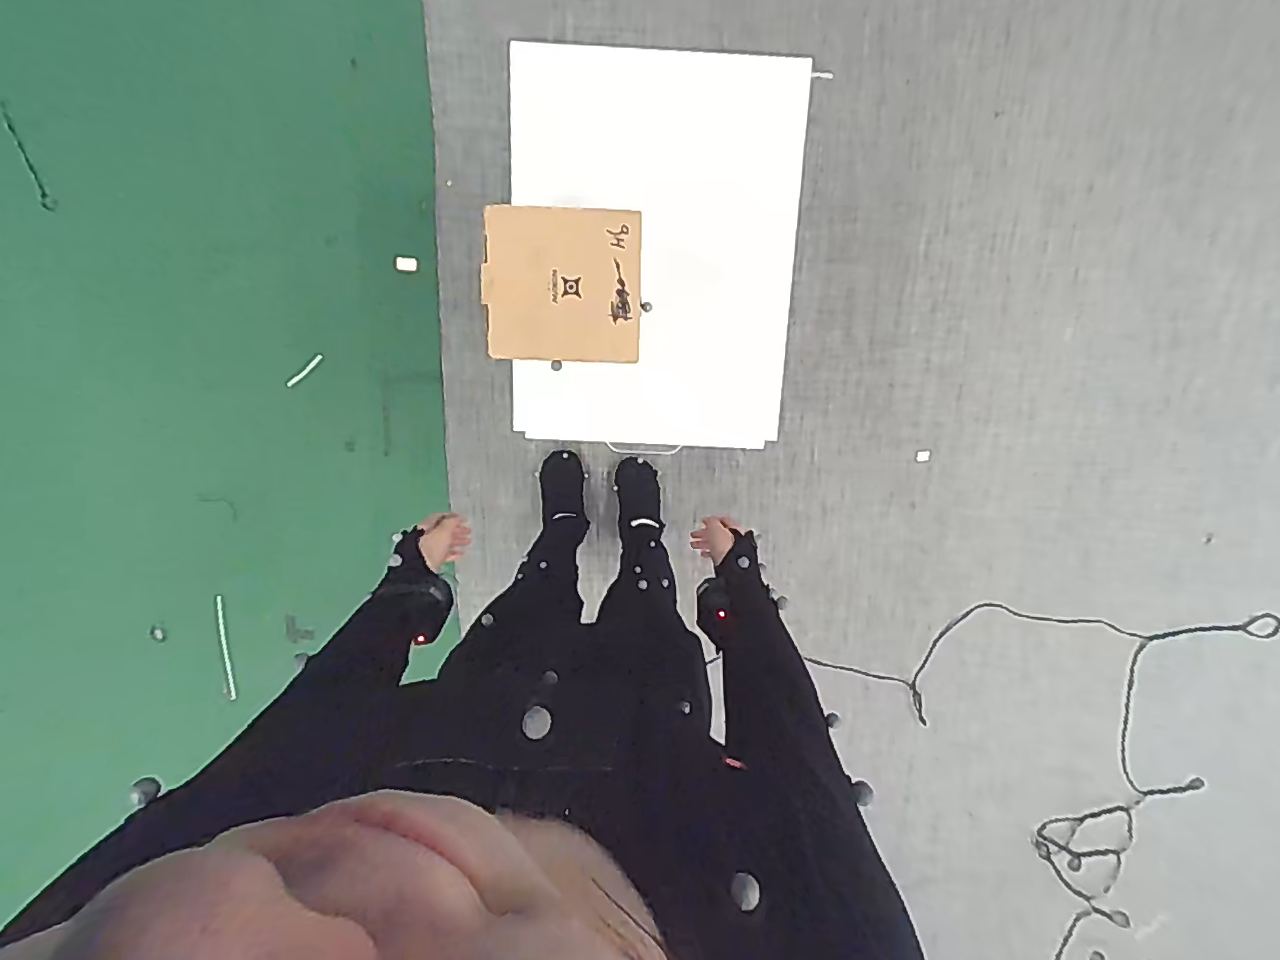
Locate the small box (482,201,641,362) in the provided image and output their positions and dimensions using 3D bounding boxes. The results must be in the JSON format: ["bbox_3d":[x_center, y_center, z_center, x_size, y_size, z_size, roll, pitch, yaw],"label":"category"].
[{"bbox_3d":[-0.090,-0.237,0.681,0.179,0.176,0.168,1,103,-2],"label":"small box"}]
